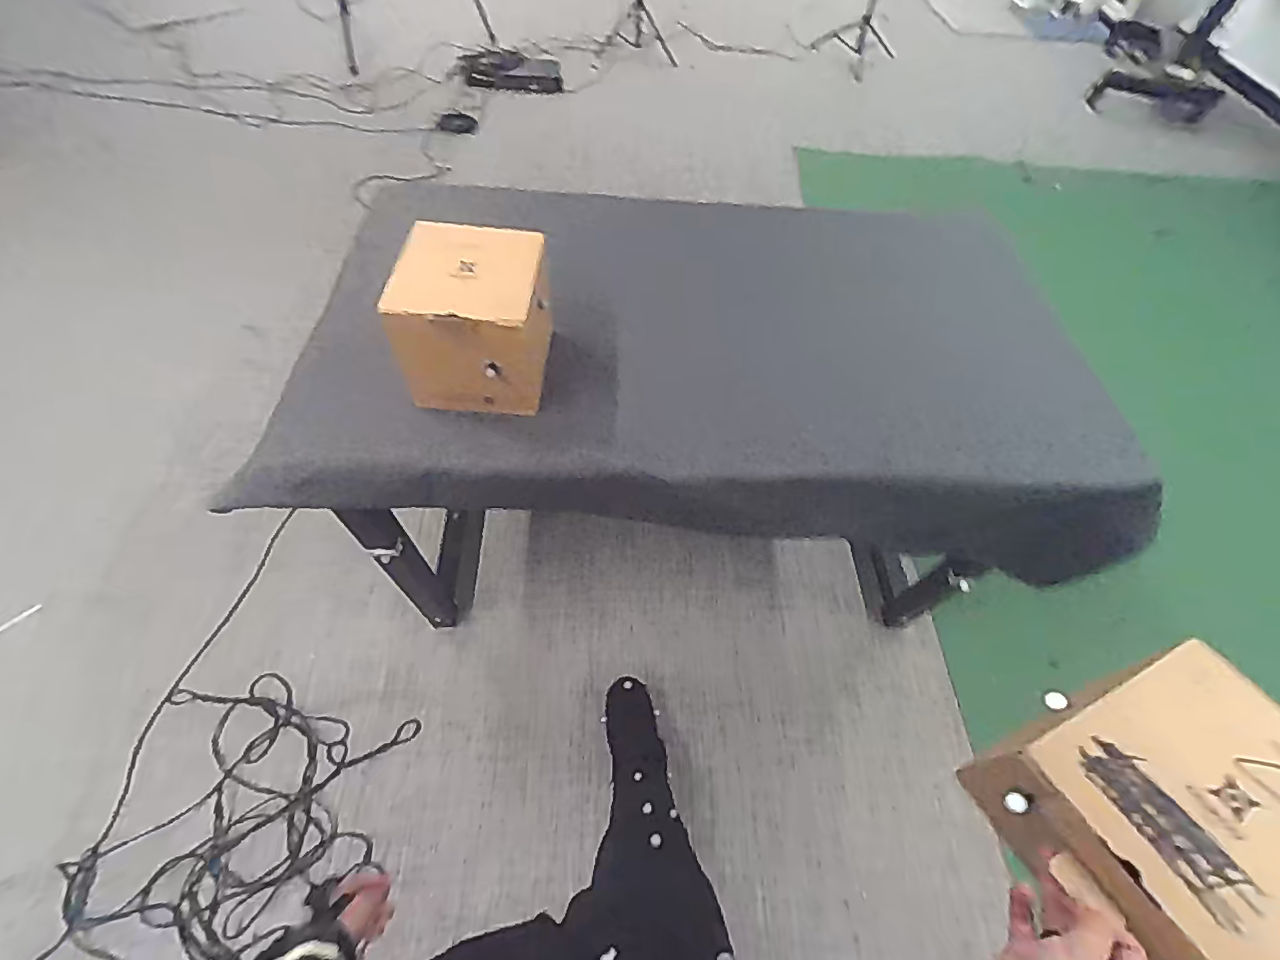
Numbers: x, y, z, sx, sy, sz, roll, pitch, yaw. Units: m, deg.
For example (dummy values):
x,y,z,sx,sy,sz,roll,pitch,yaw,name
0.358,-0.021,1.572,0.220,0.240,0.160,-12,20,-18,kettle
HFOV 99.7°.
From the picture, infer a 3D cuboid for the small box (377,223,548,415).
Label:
x,y,z,sx,sy,sz,roll,pitch,yaw,name
-0.214,-0.205,0.712,0.168,0.176,0.179,5,55,-4,small box
